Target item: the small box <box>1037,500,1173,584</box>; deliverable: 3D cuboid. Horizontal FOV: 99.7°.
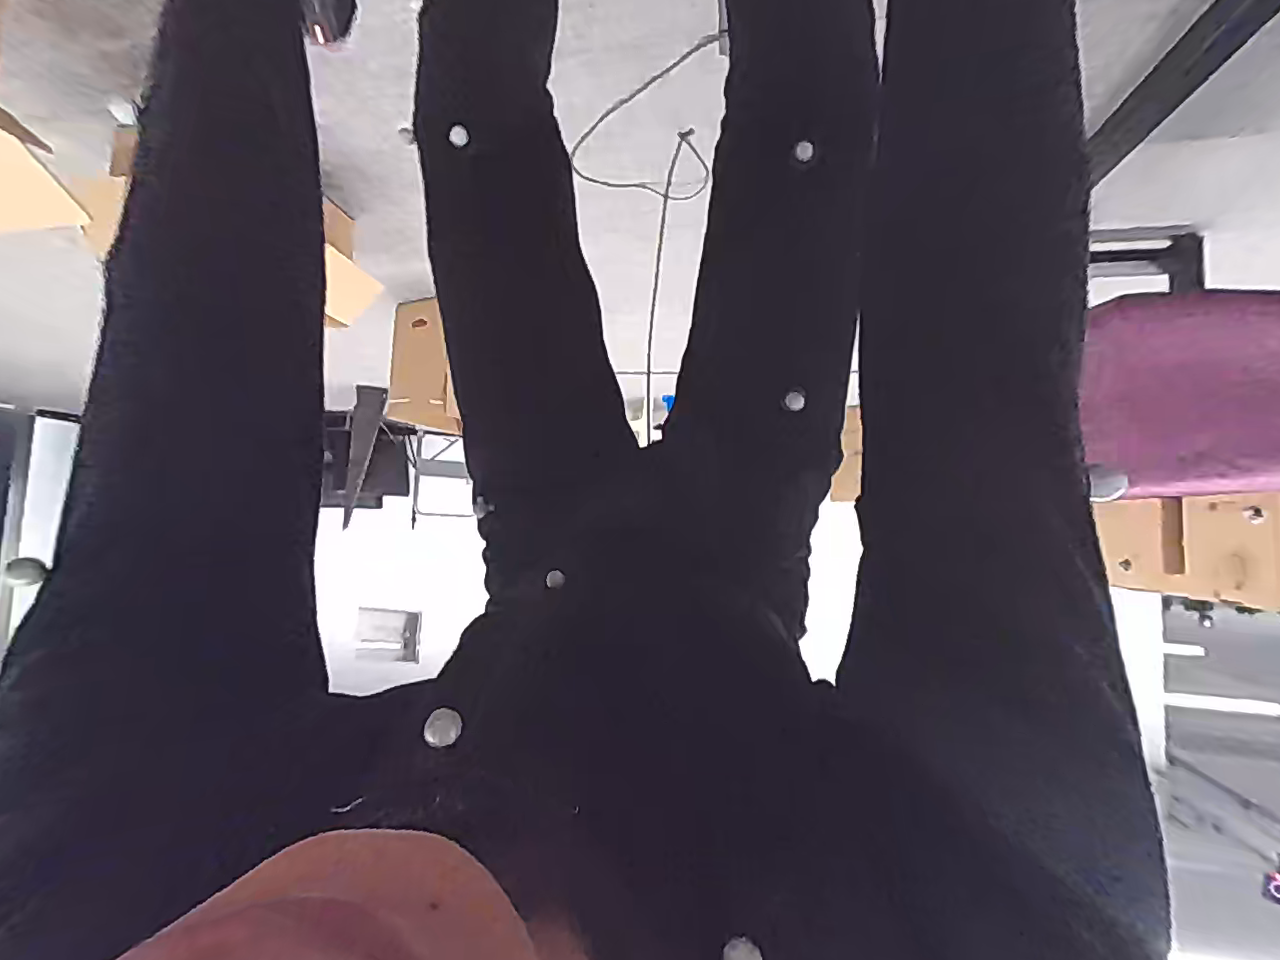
[{"bbox_3d":[1.022,0.133,1.203,0.179,0.176,0.168,1,176,9],"label":"small box"}]
